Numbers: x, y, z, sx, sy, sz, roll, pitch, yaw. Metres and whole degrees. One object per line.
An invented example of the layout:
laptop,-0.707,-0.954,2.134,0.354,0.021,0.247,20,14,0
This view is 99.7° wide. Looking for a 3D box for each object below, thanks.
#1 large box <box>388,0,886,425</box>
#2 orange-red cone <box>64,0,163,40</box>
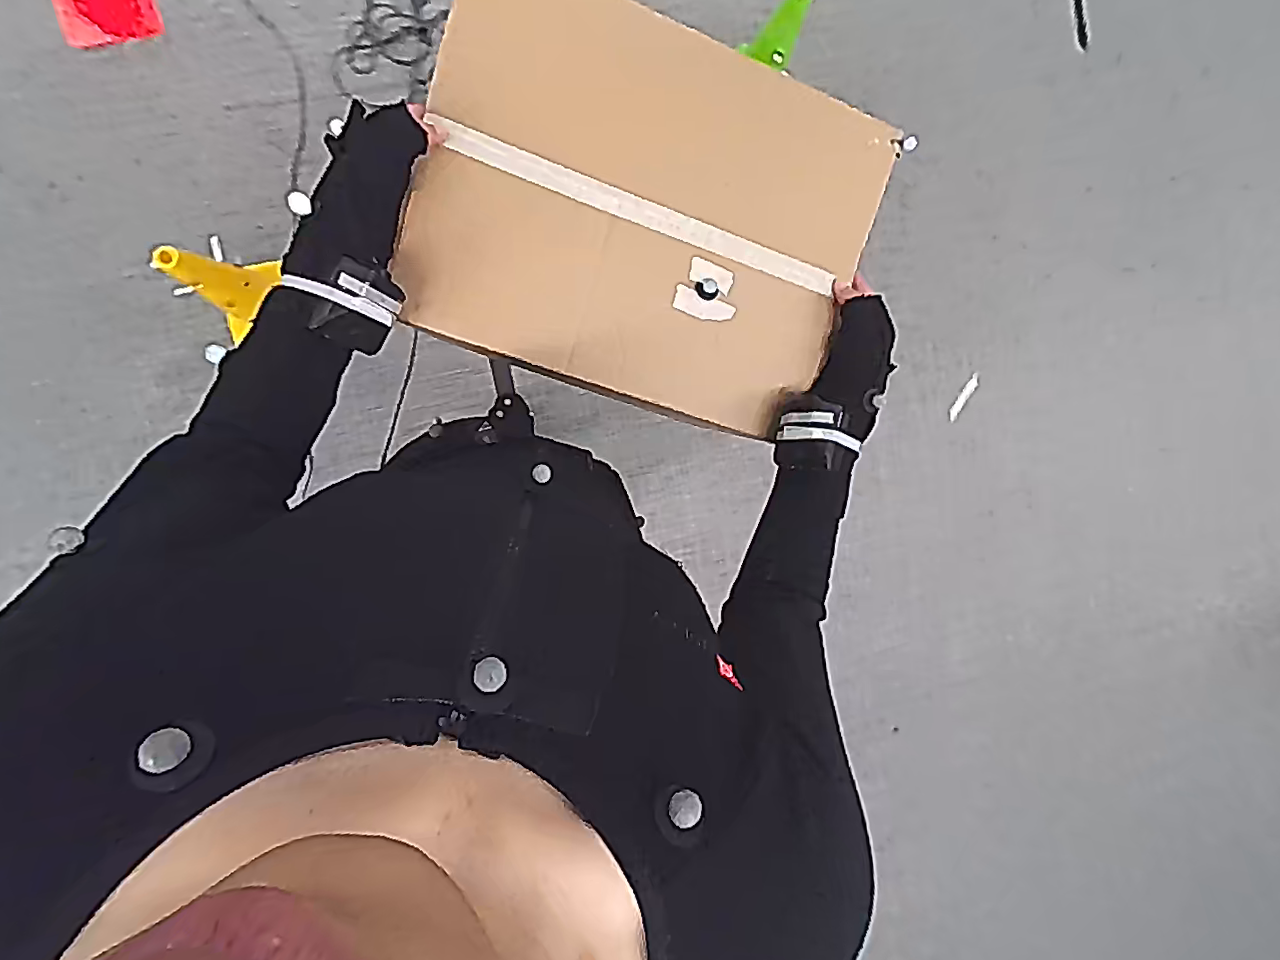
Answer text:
large box,-0.019,-0.269,0.632,0.408,0.320,0.320,15,97,-12
orange-red cone,-1.191,-1.100,1.062,0.198,0.360,0.199,-15,98,-6
